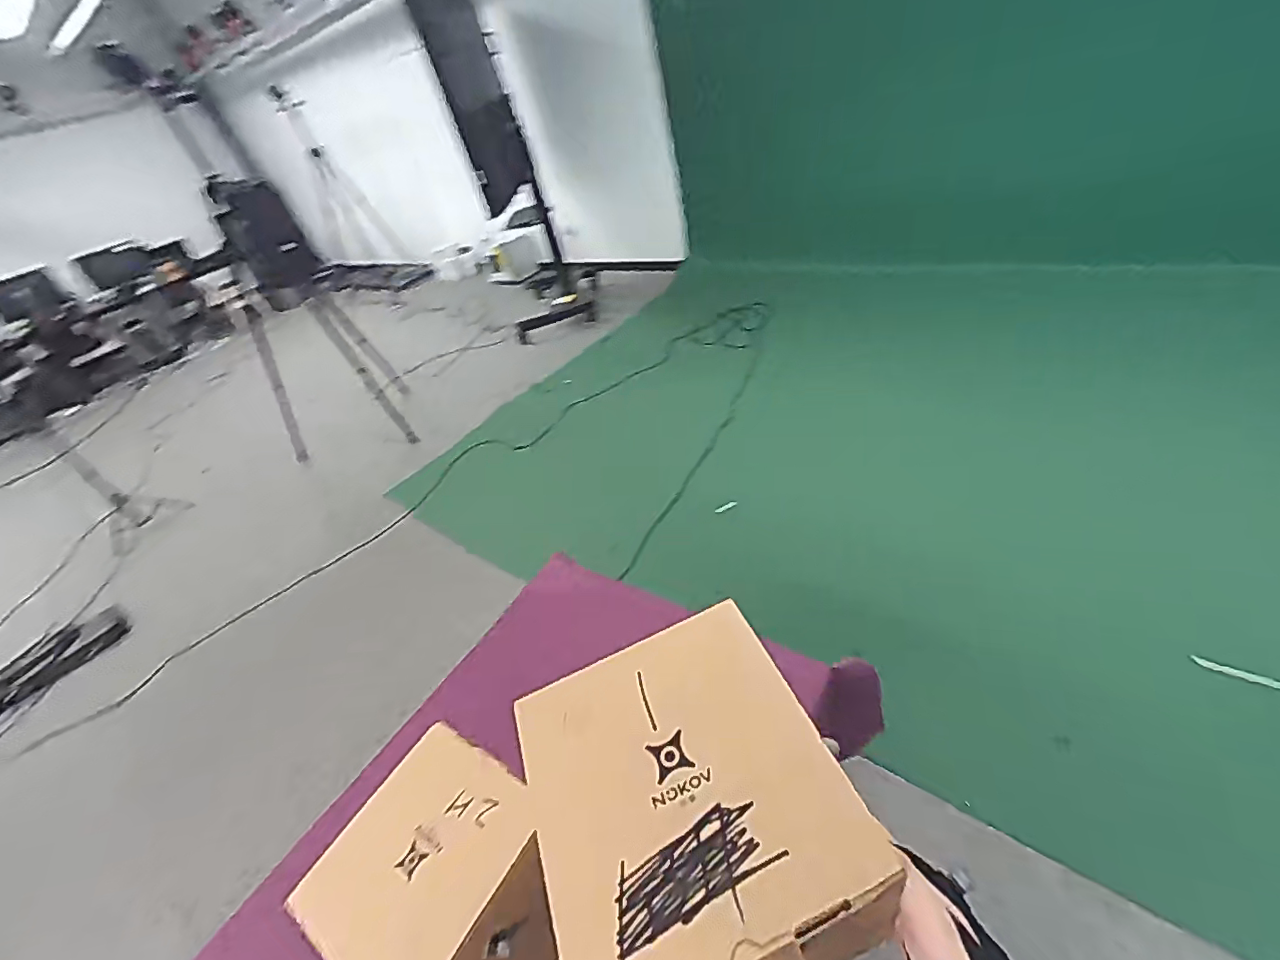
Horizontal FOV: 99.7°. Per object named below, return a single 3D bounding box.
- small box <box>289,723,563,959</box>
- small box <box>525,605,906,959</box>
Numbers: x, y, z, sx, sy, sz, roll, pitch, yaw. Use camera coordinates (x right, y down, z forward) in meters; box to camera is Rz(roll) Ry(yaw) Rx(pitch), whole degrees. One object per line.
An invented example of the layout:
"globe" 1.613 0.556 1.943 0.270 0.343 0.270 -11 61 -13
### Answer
"small box" -0.166 0.376 0.506 0.168 0.176 0.179 14 47 33
"small box" 0.044 0.223 0.355 0.168 0.176 0.179 -23 40 -6
